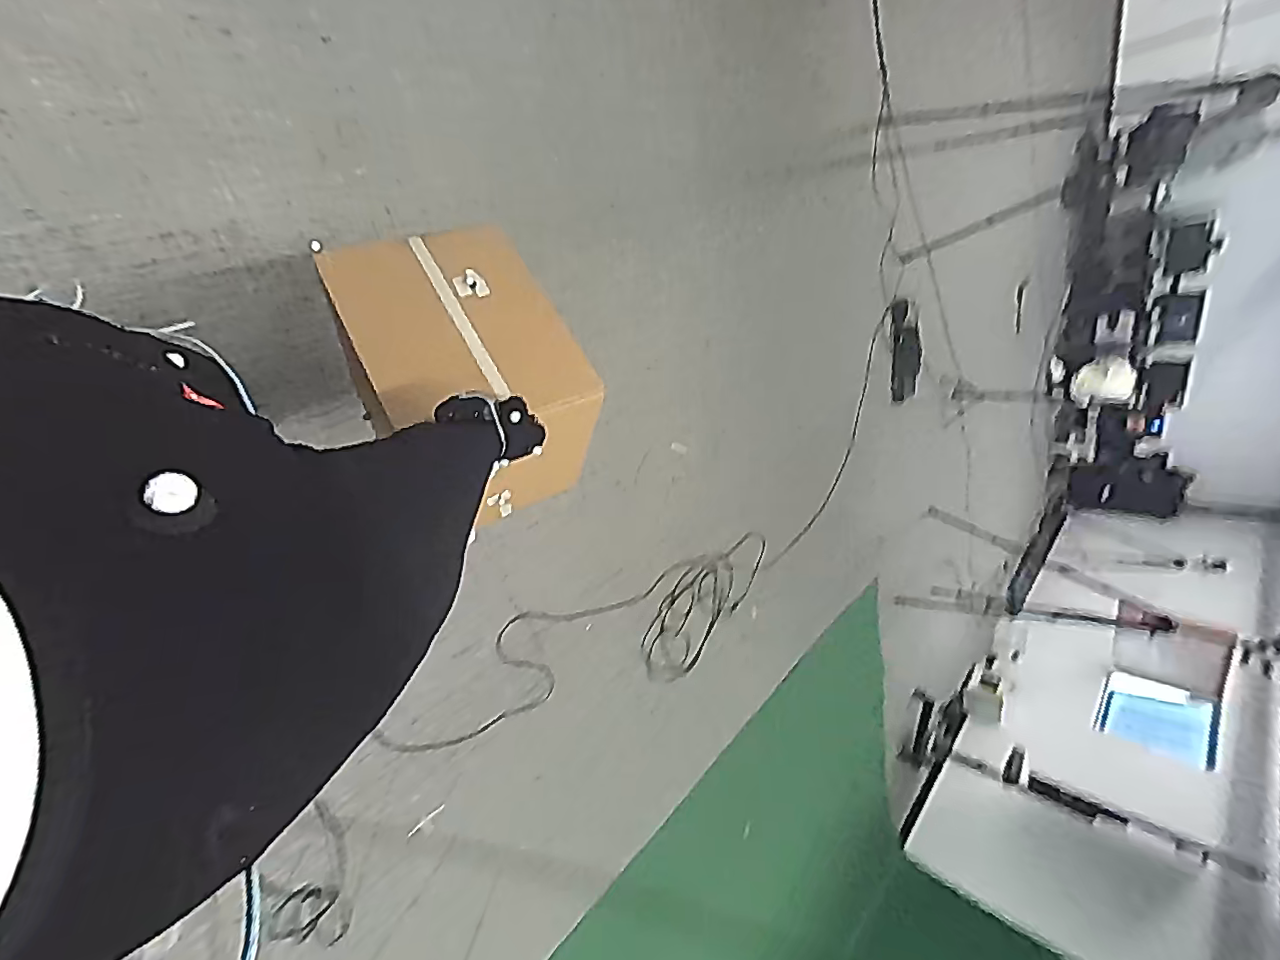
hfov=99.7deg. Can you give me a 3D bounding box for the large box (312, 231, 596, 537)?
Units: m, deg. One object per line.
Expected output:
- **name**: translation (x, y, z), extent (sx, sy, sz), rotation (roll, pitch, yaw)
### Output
- **large box**: translation (-0.328, -0.173, 0.982), extent (0.320, 0.408, 0.320), rotation (-22, 158, -27)
